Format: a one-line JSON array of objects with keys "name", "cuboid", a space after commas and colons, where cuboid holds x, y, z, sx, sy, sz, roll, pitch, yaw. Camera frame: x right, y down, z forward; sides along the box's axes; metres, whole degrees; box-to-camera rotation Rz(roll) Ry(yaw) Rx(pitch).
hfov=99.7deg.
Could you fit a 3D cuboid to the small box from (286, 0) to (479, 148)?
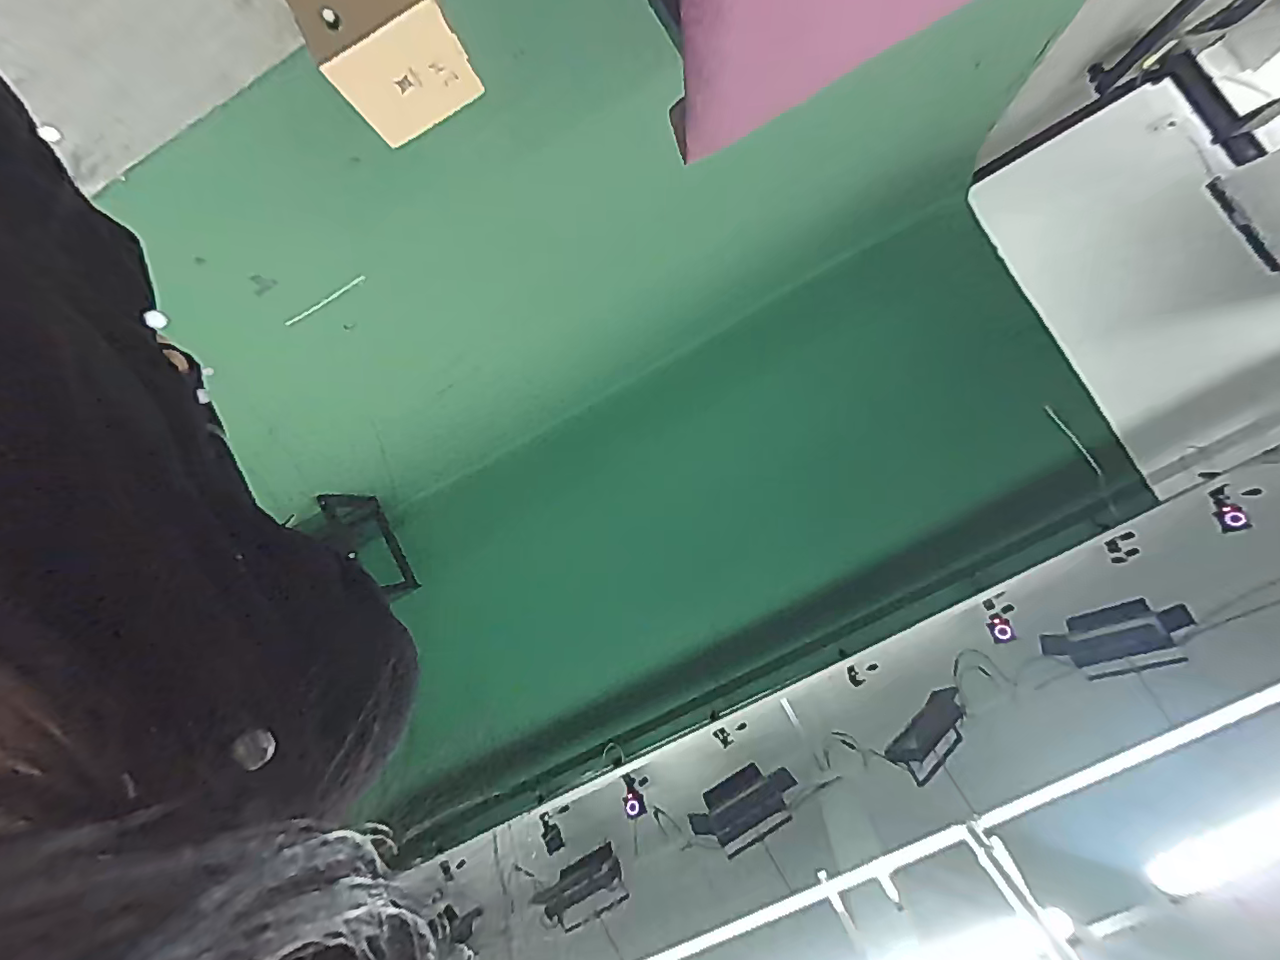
[{"name": "small box", "cuboid": [-0.367, -0.633, 0.766, 0.179, 0.176, 0.168, -28, 175, 6]}]
